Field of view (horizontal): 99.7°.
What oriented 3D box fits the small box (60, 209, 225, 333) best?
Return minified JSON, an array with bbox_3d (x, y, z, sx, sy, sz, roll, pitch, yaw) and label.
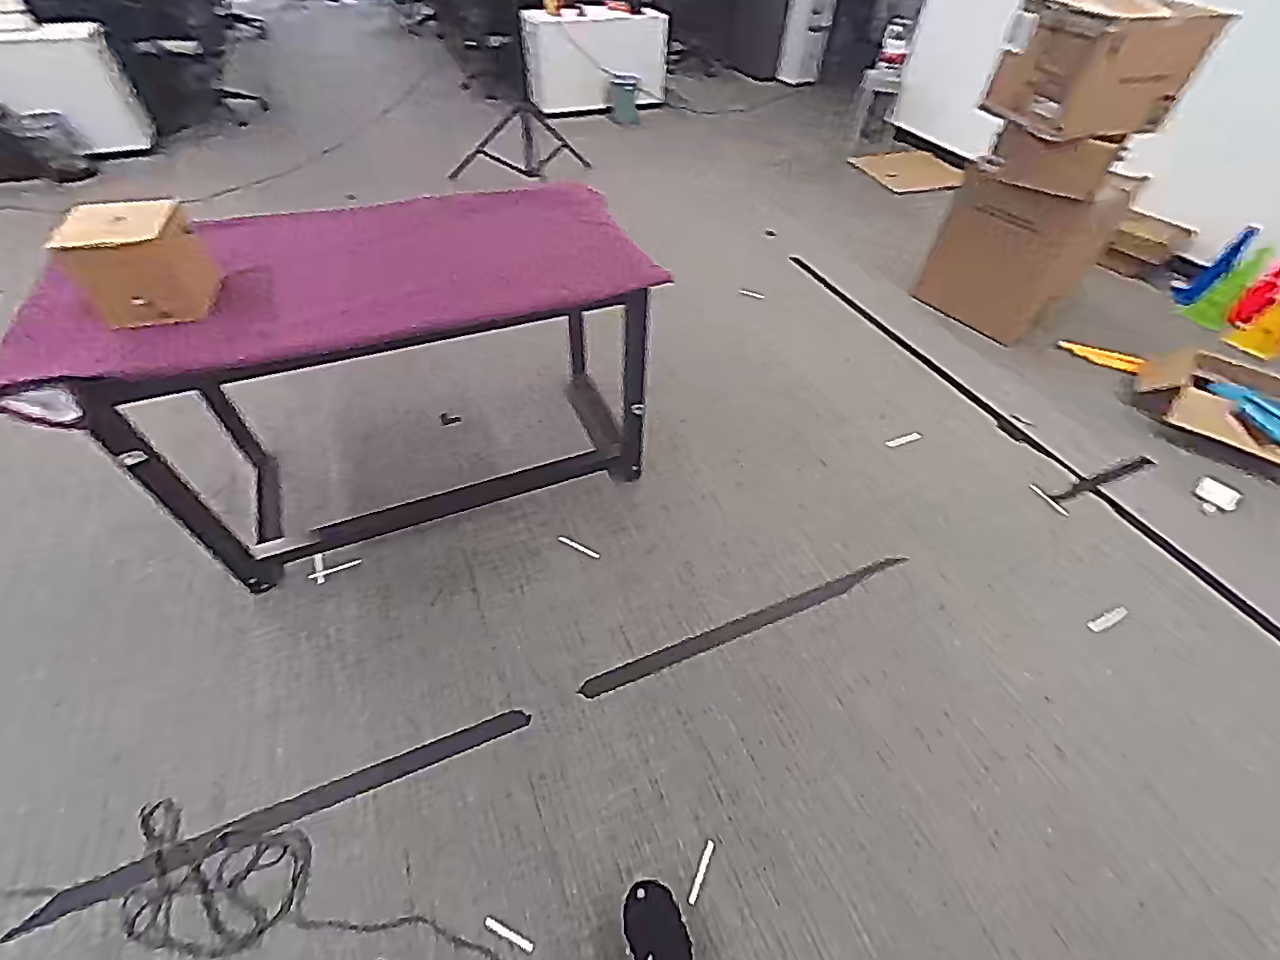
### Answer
[{"bbox_3d":[-0.974,-0.418,1.082,0.168,0.176,0.179,-11,51,-13],"label":"small box"}]
